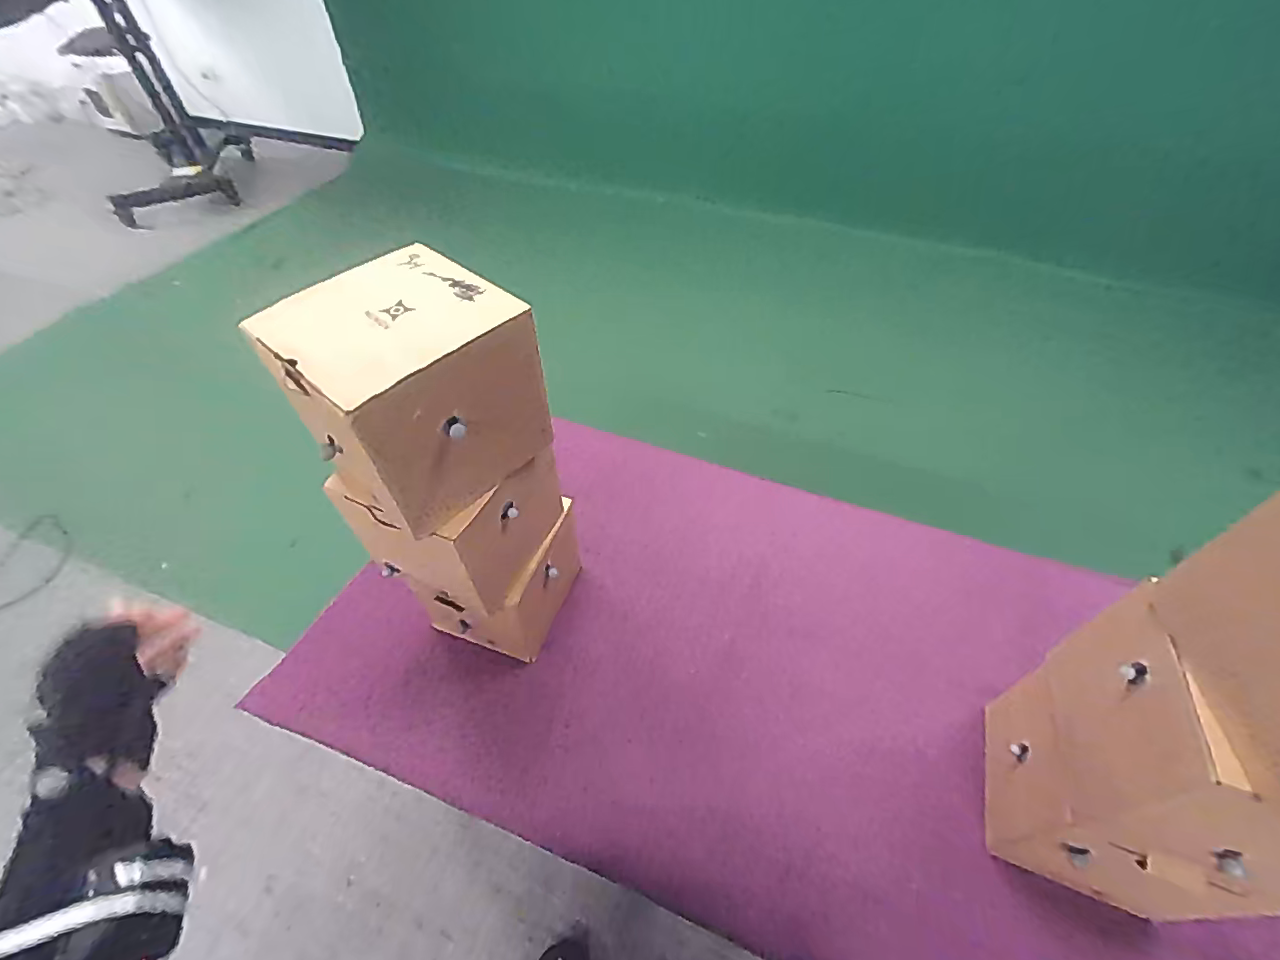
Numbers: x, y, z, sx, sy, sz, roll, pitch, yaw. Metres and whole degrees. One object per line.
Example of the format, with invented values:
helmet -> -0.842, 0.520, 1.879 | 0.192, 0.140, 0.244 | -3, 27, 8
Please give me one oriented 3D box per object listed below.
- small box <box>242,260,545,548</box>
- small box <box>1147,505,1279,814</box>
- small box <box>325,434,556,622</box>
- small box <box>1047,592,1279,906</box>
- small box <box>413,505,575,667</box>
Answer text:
small box -> -0.210, -0.069, 0.509 | 0.168, 0.176, 0.179 | 35, 60, 24
small box -> 0.499, 0.126, 0.344 | 0.168, 0.176, 0.179 | 6, 49, 4
small box -> -0.212, 0.037, 0.635 | 0.168, 0.176, 0.179 | 20, 53, 15
small box -> 0.493, 0.232, 0.468 | 0.168, 0.176, 0.179 | 14, 50, 12
small box -> -0.199, 0.134, 0.768 | 0.168, 0.176, 0.179 | 16, 53, 12
